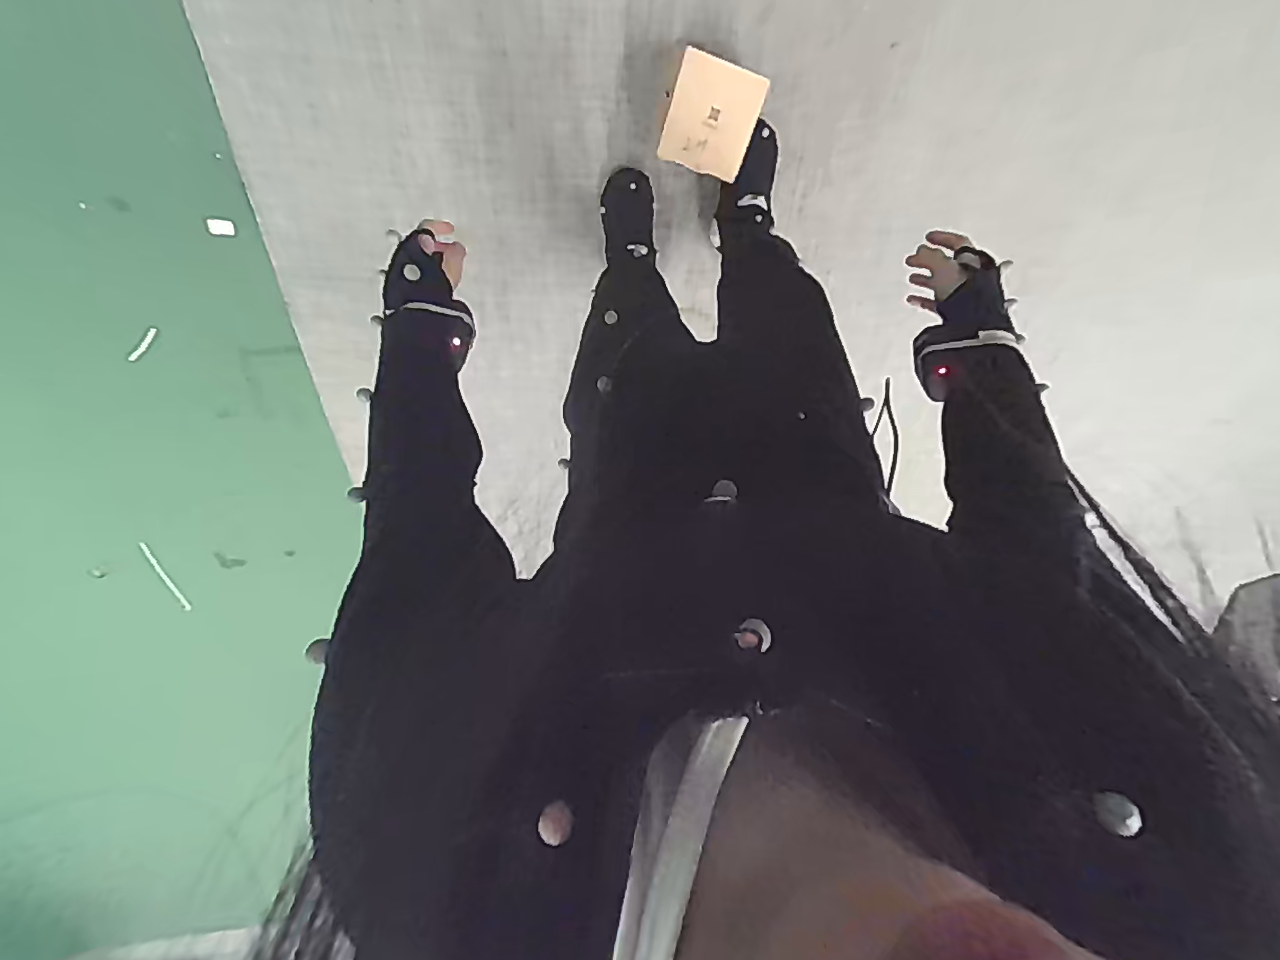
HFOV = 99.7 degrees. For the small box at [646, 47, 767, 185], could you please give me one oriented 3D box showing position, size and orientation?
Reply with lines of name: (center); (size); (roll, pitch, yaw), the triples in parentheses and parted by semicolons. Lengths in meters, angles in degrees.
small box: (0.118, -0.711, 1.057); (0.168, 0.176, 0.179); (10, 126, -16)
